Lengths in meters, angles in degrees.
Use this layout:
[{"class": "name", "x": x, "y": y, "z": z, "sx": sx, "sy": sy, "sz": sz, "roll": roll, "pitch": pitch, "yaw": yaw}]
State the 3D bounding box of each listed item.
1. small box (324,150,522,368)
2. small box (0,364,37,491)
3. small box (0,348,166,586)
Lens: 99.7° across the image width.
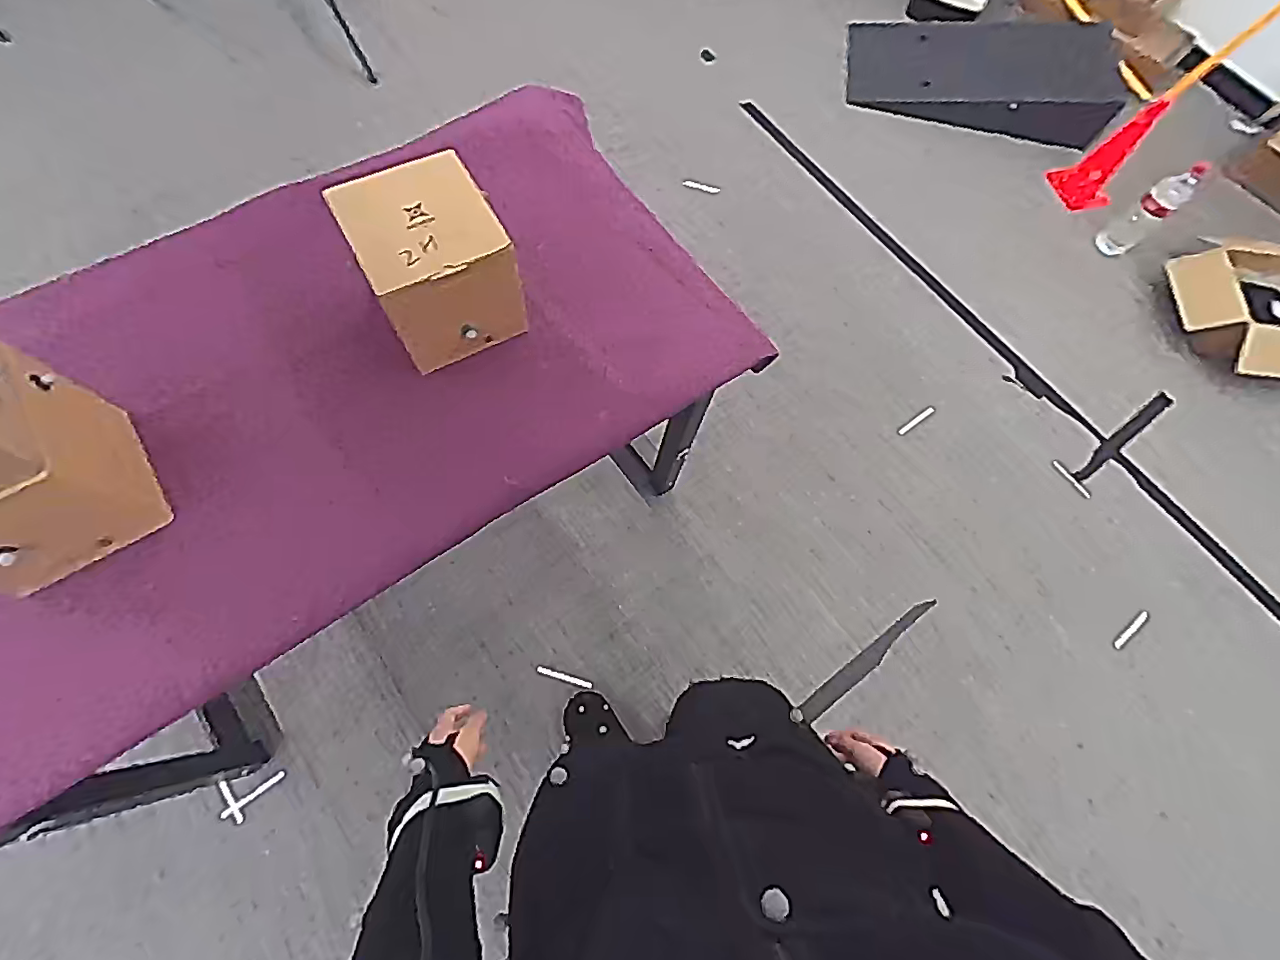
[{"class": "small box", "x": -0.272, "y": -0.282, "z": 0.713, "sx": 0.168, "sy": 0.176, "sz": 0.179, "roll": -28, "pitch": 75, "yaw": -14}, {"class": "small box", "x": -0.656, "y": -0.064, "z": 0.422, "sx": 0.168, "sy": 0.176, "sz": 0.179, "roll": -33, "pitch": 75, "yaw": -16}, {"class": "small box", "x": -0.667, "y": -0.003, "z": 0.574, "sx": 0.168, "sy": 0.176, "sz": 0.179, "roll": -33, "pitch": 76, "yaw": -16}]
